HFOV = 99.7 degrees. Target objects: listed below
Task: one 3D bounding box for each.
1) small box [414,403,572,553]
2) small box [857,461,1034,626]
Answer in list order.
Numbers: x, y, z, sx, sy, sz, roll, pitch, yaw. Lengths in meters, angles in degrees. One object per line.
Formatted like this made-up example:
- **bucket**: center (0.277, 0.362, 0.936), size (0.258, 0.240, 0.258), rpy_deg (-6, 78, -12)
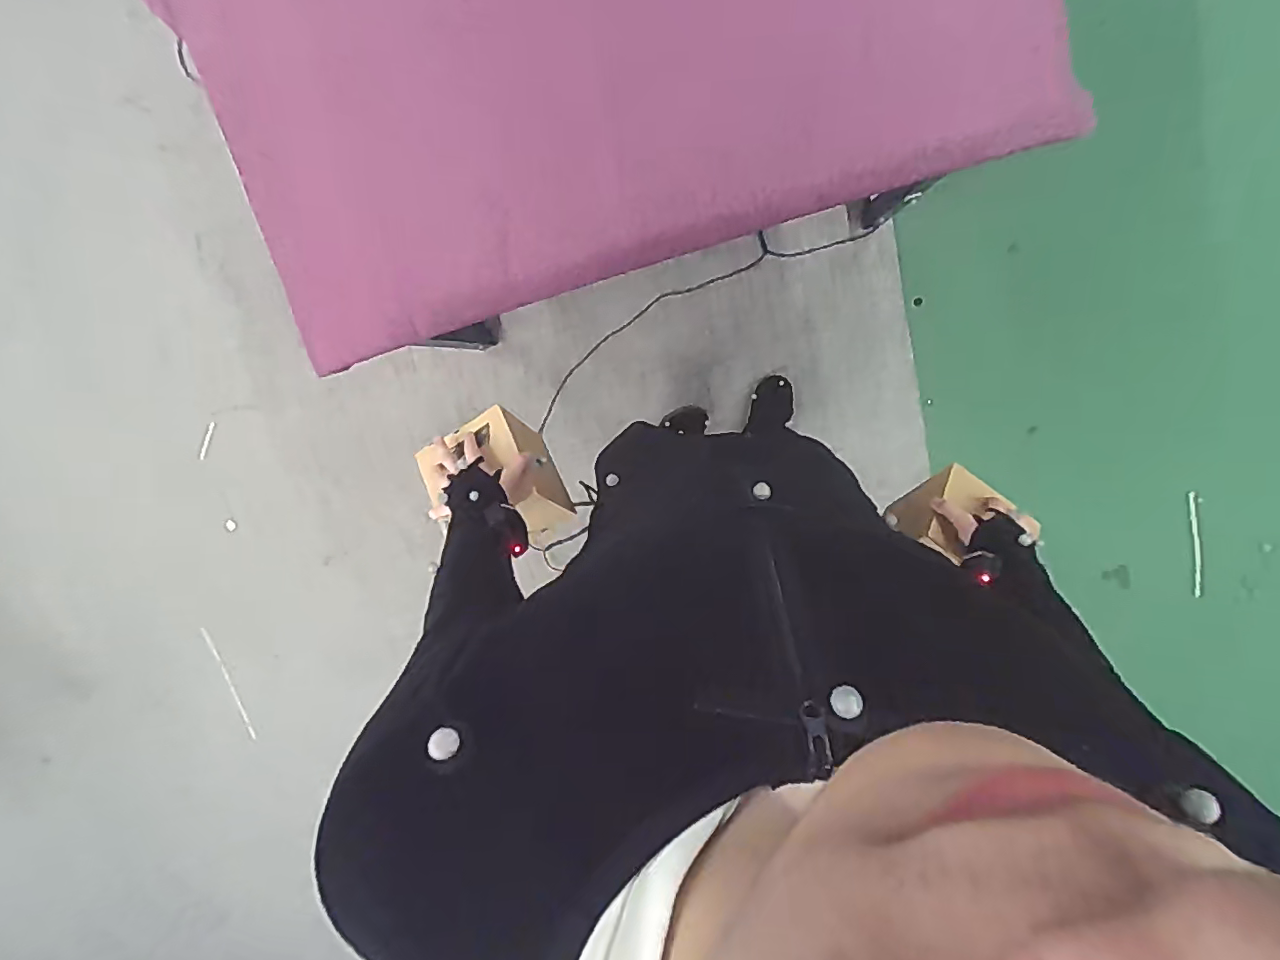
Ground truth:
- **small box**: center (-0.242, 0.006, 0.915), size (0.168, 0.176, 0.179), rpy_deg (-30, 70, 6)
- **small box**: center (0.485, 0.109, 0.876), size (0.168, 0.179, 0.176), rpy_deg (38, 147, 5)
